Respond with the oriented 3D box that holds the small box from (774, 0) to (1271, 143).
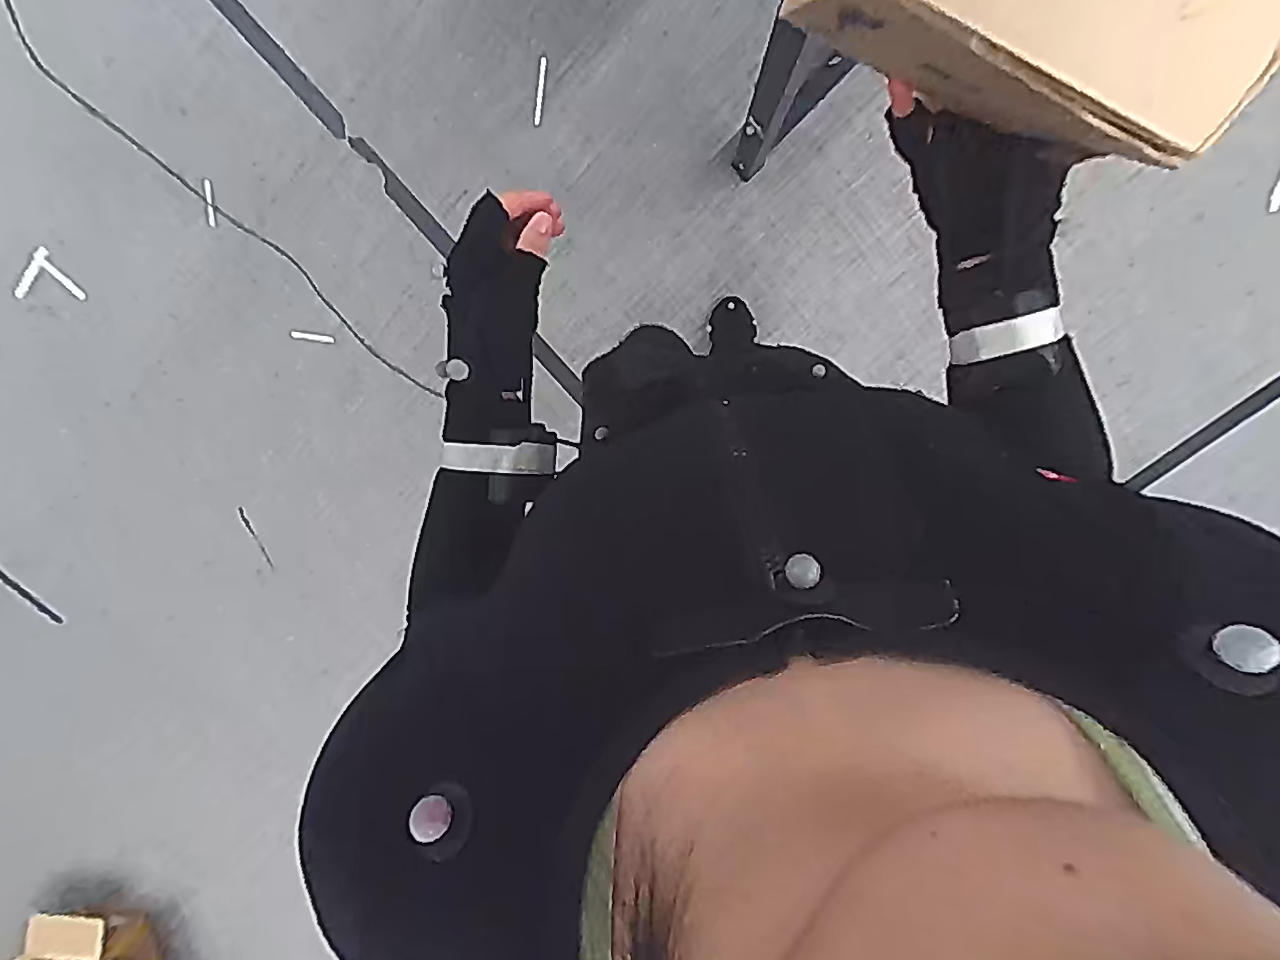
[{"bbox_3d":[0.190,-0.283,0.241,0.179,0.168,0.176,16,124,-12],"label":"small box"}]
